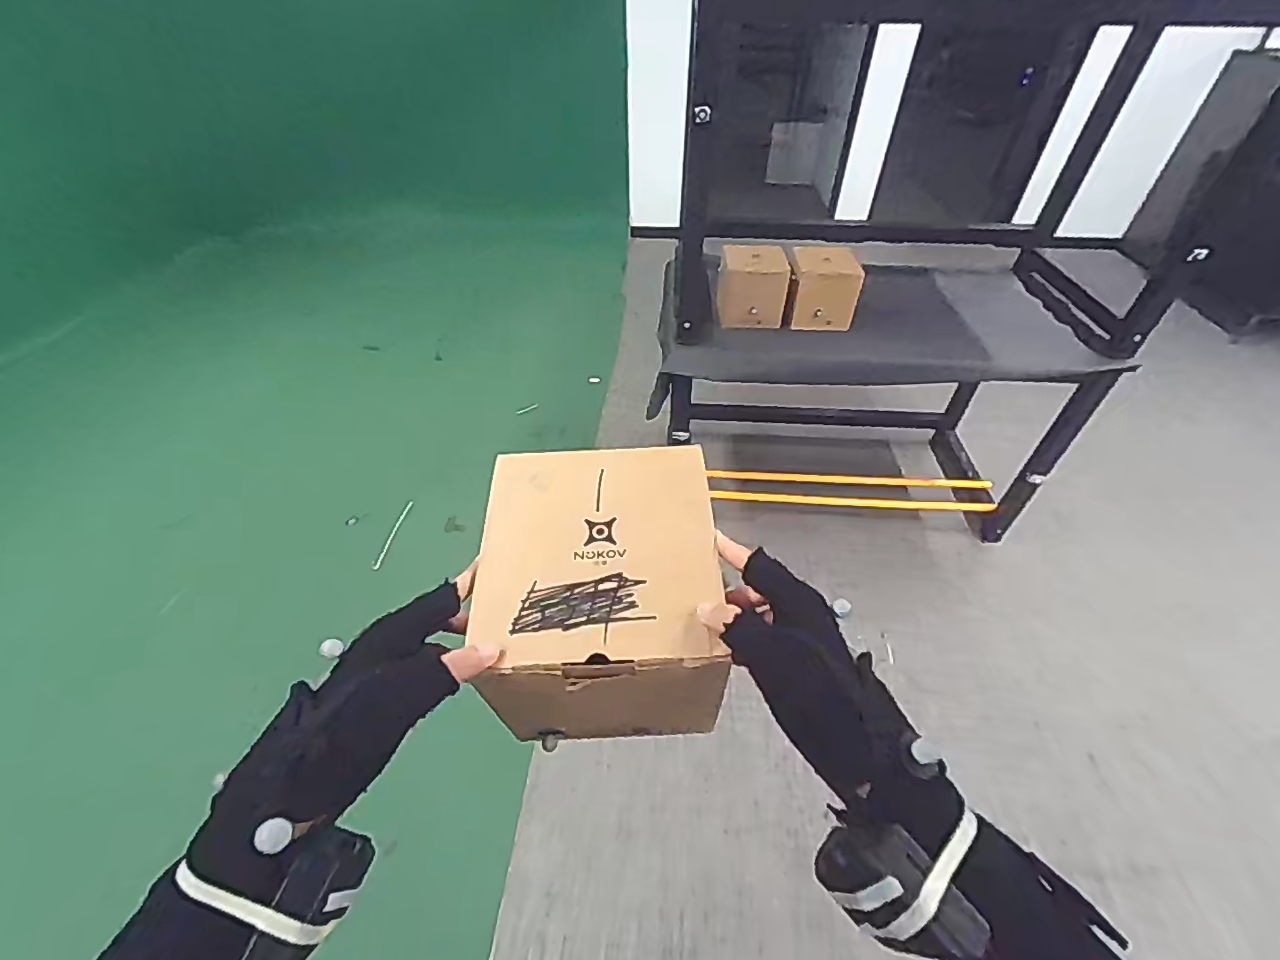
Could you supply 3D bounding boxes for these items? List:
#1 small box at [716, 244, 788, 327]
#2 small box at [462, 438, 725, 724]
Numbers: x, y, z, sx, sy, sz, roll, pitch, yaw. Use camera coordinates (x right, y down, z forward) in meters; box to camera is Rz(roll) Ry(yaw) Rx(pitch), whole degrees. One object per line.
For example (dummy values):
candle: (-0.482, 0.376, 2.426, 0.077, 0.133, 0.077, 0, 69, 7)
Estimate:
small box: (0.308, -0.548, 1.523, 0.168, 0.176, 0.179, 1, 44, 1)
small box: (-0.027, 0.088, 0.439, 0.168, 0.176, 0.179, -3, 50, 0)
